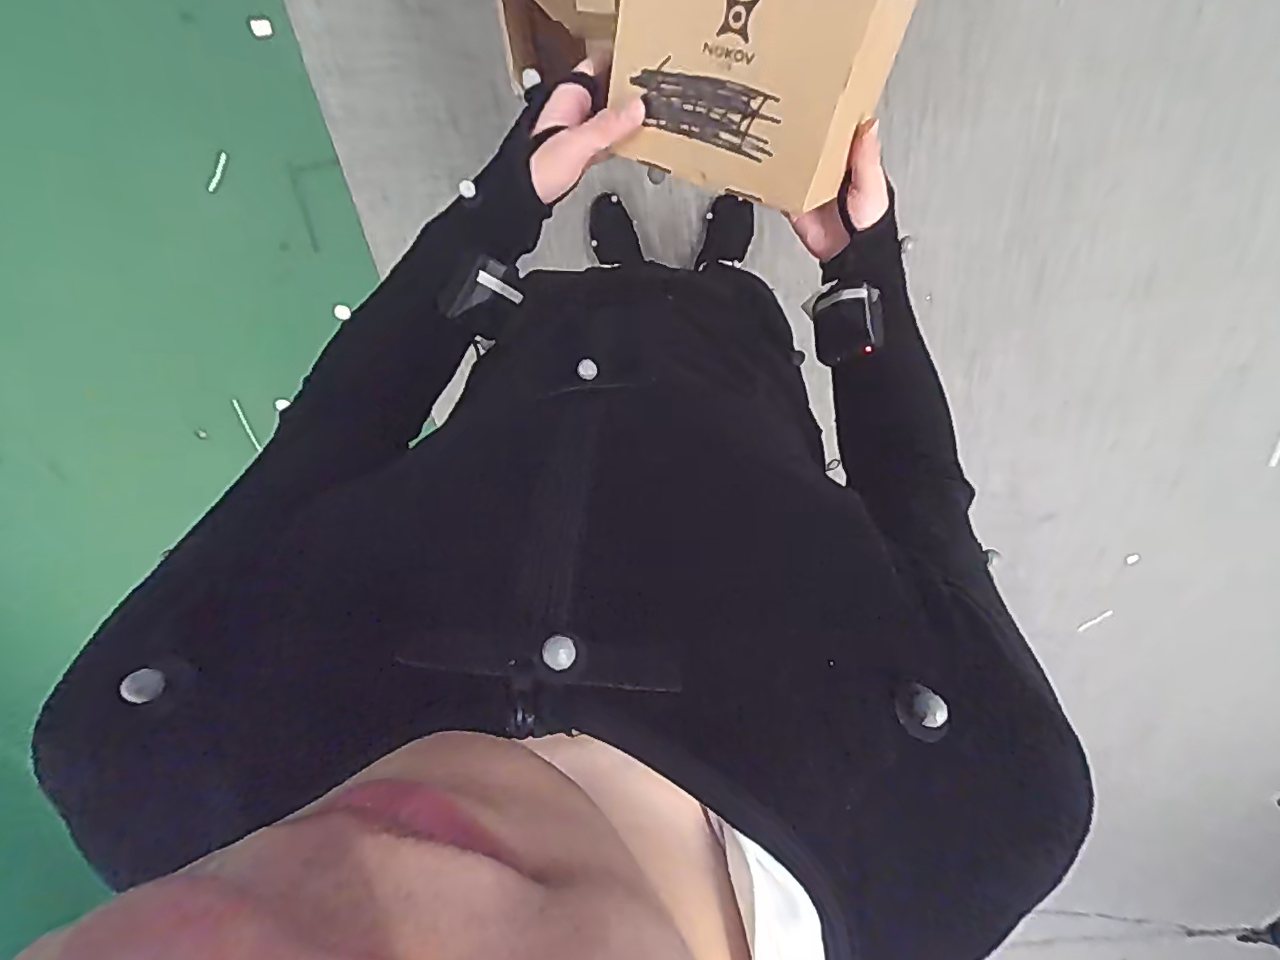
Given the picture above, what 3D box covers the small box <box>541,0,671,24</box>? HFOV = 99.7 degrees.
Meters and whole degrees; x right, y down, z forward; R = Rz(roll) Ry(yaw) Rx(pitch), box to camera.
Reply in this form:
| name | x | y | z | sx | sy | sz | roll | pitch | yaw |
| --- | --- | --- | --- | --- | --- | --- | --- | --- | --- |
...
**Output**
| name | x | y | z | sx | sy | sz | roll | pitch | yaw |
| --- | --- | --- | --- | --- | --- | --- | --- | --- | --- |
| small box | -0.041 | -0.657 | 0.625 | 0.168 | 0.176 | 0.179 | 5 | 120 | 1 |
